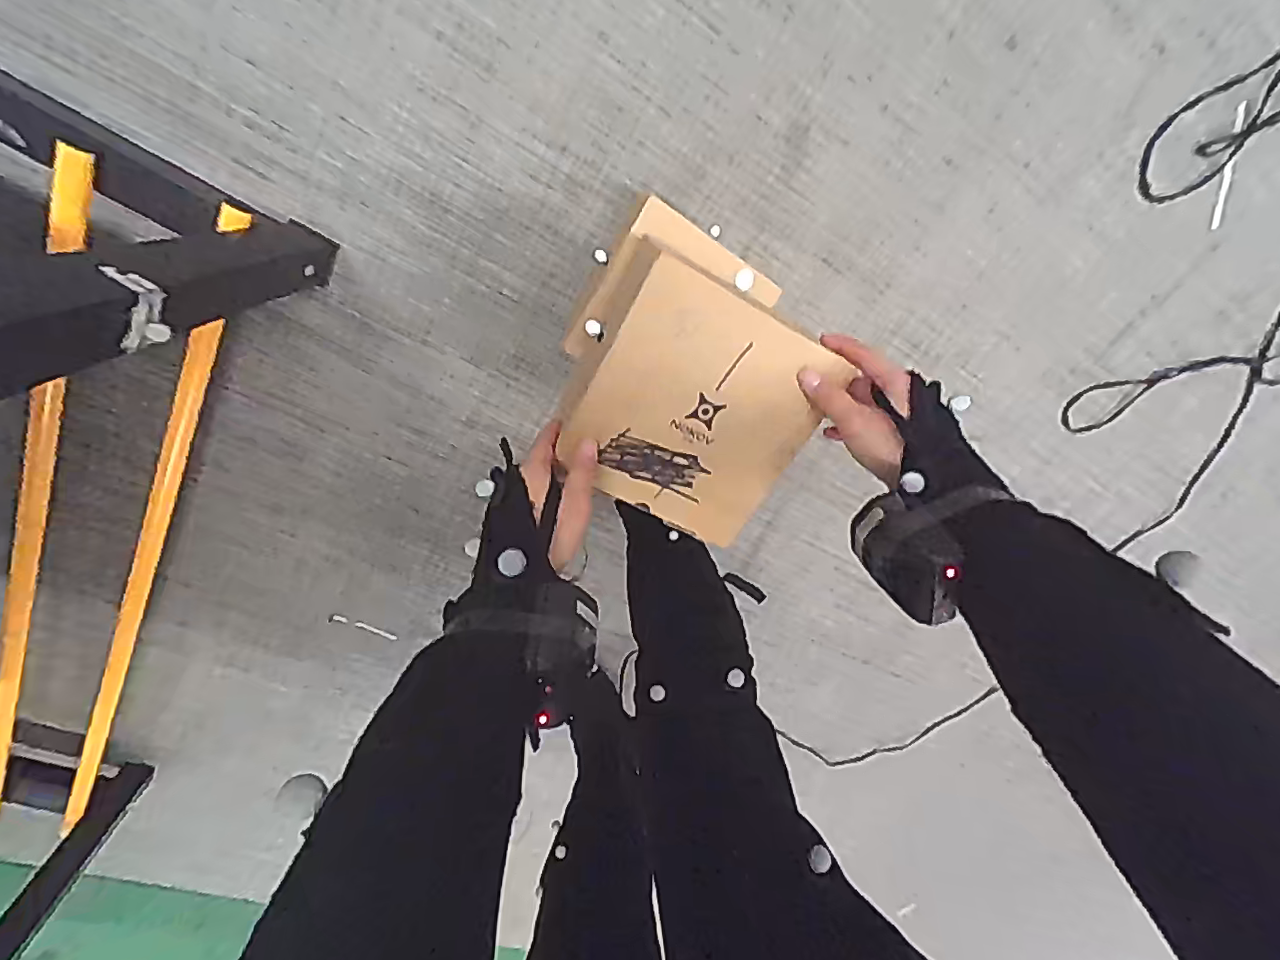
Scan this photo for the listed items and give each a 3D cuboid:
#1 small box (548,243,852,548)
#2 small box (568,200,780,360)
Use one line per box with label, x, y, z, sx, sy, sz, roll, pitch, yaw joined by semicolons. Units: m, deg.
small box;0.038;-0.080;0.466;0.168;0.176;0.179;25;113;-16
small box;0.028;-0.203;0.638;0.168;0.176;0.179;29;112;-17
